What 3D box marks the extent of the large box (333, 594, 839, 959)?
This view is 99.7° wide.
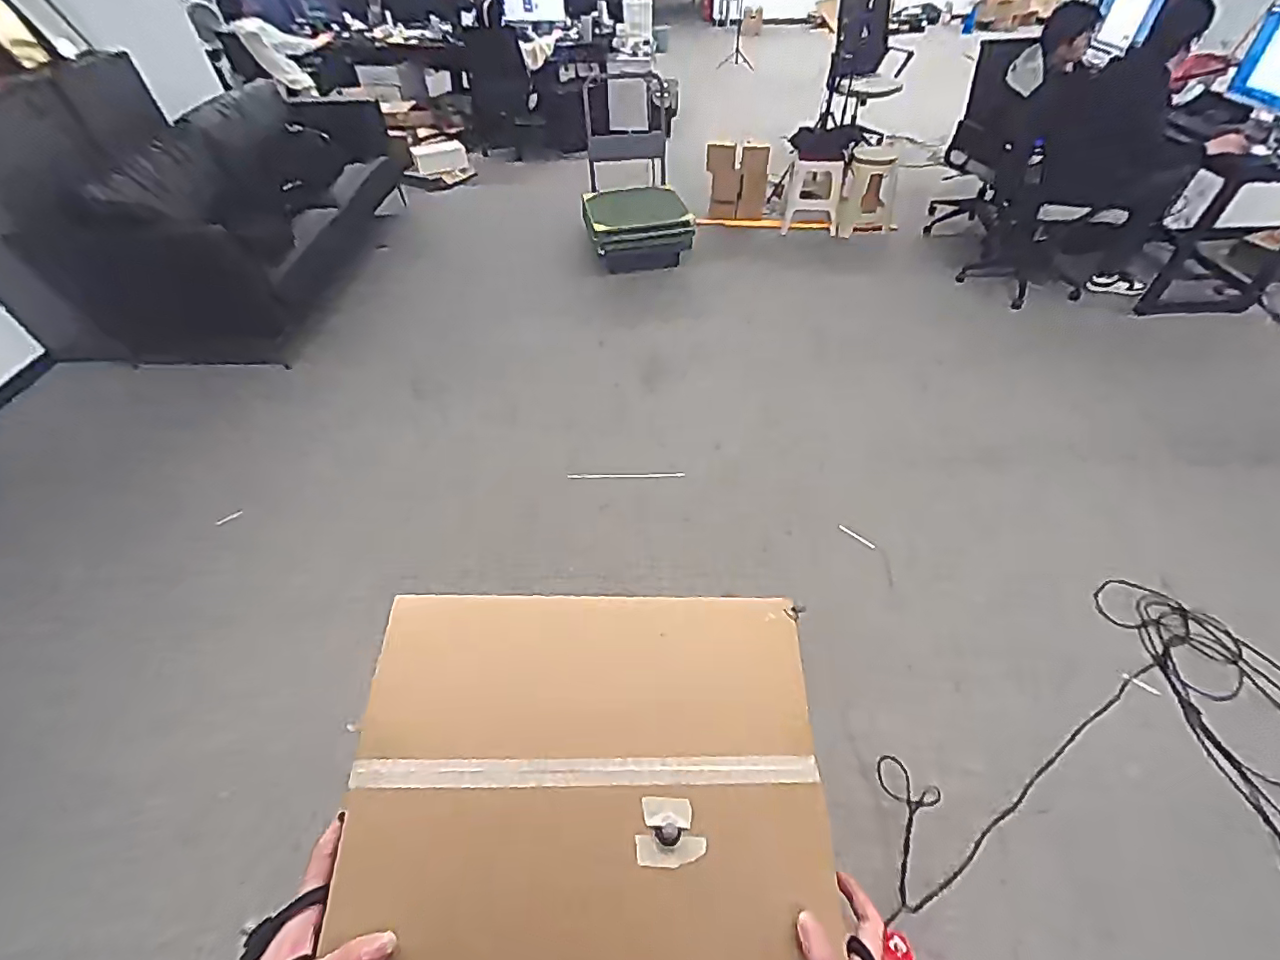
[{"bbox_3d":[-0.051,0.329,0.619,0.408,0.320,0.320,1,61,-3],"label":"large box"}]
